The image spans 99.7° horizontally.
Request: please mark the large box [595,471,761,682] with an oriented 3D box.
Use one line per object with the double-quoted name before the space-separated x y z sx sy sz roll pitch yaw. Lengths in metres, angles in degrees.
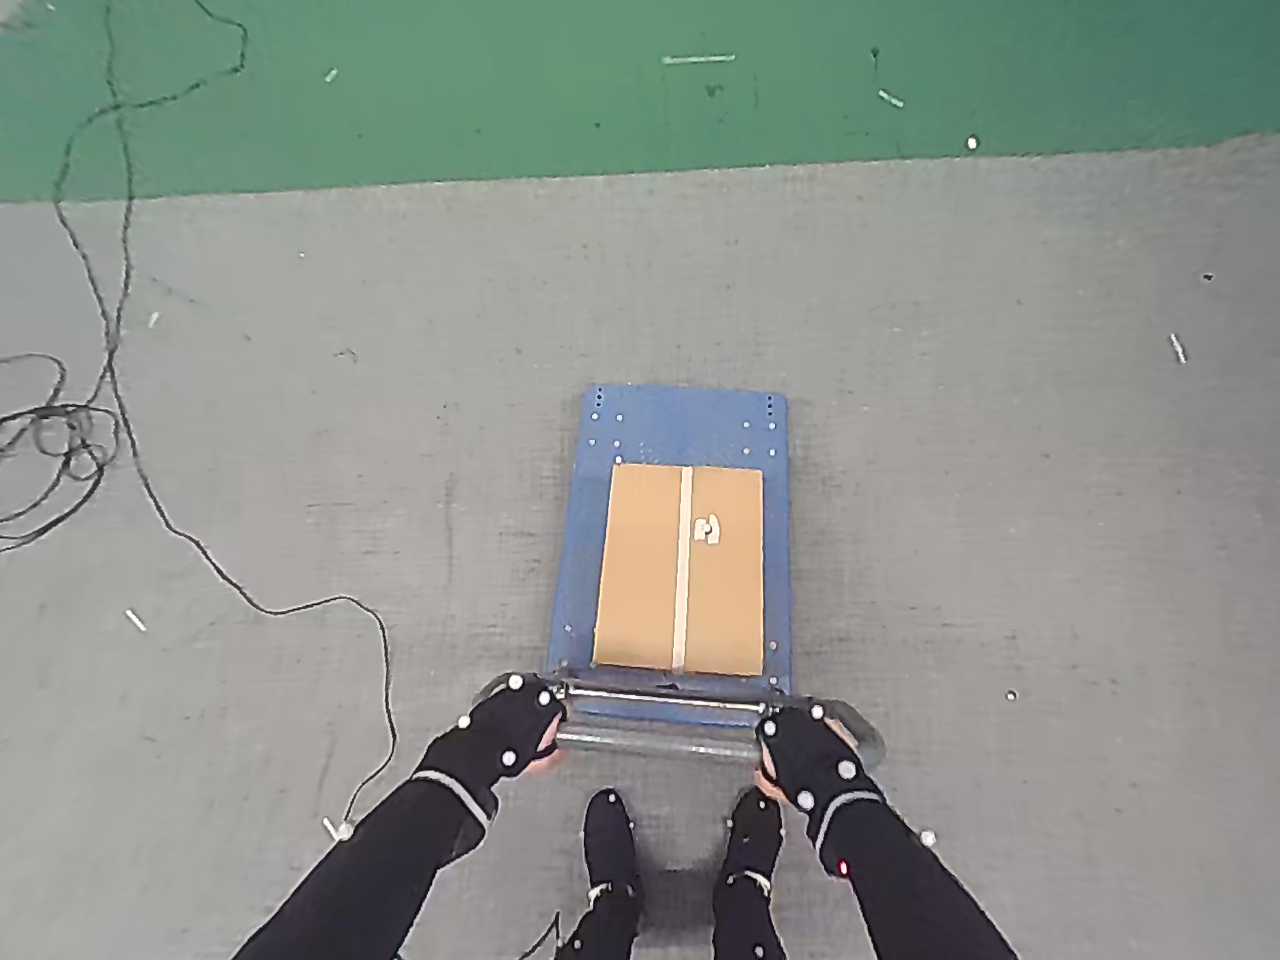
"large box" 0.088 0.227 1.206 0.320 0.320 0.408 3 68 4
